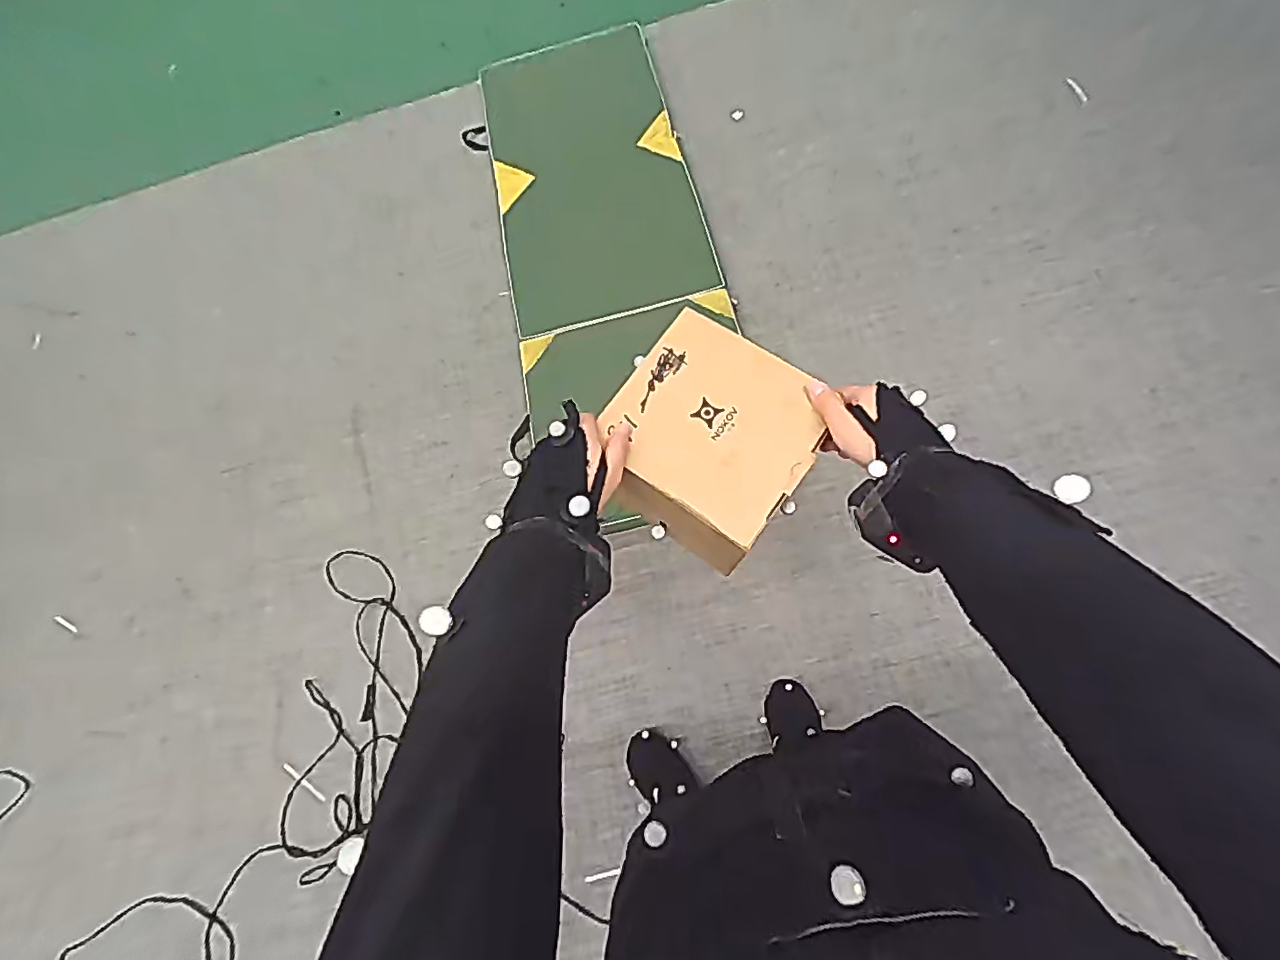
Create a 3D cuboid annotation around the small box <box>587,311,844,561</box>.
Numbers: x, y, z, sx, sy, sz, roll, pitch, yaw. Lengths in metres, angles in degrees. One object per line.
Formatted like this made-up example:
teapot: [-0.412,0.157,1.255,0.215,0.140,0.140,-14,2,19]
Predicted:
small box: [0.072,-0.031,0.562,0.179,0.176,0.168,34,77,12]
